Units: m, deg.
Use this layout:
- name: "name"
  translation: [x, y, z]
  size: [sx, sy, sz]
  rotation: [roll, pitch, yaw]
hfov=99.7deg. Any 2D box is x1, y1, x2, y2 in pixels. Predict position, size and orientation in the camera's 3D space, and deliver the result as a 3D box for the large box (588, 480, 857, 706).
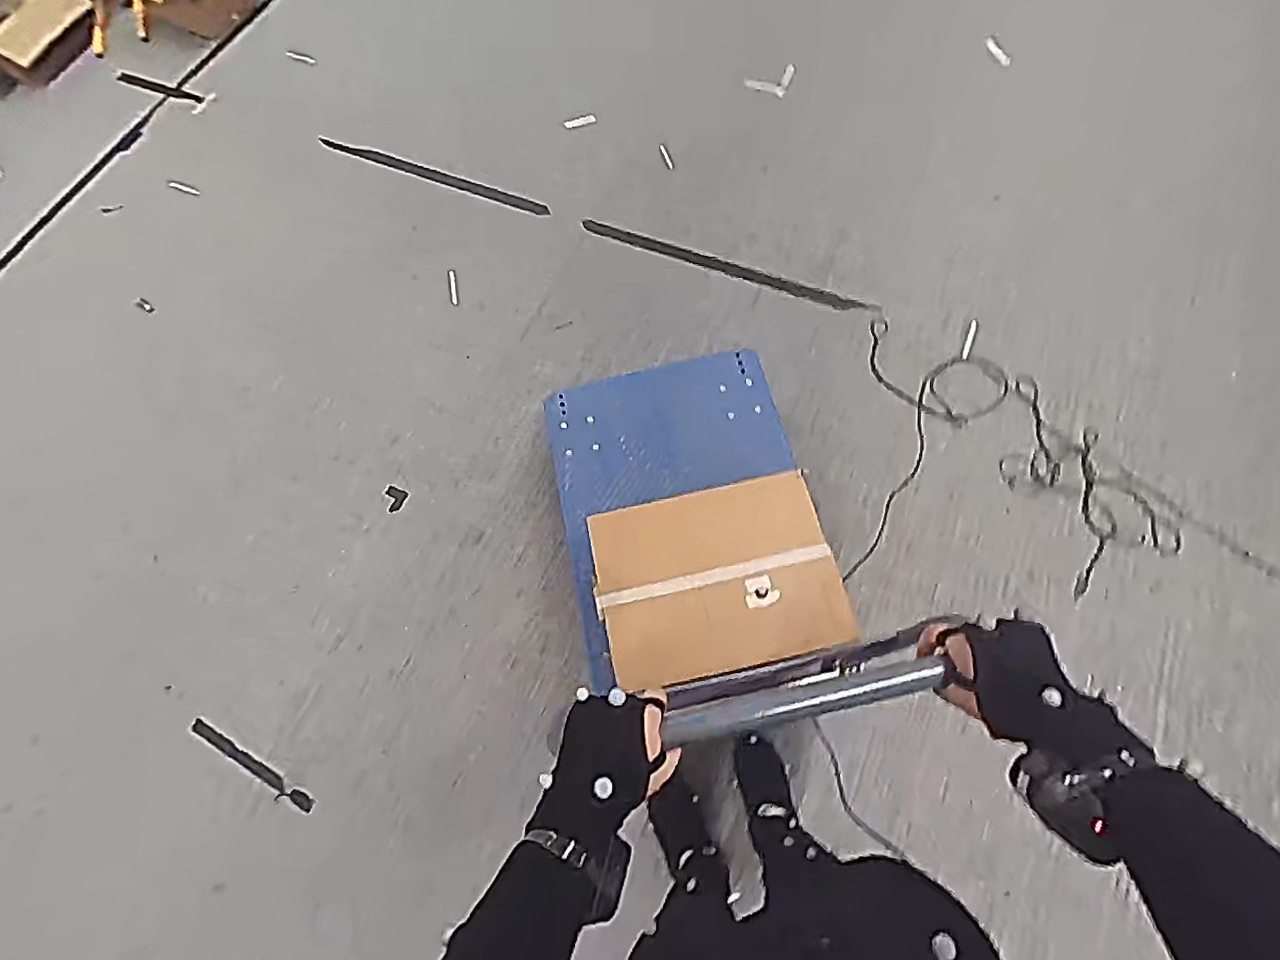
- name: "large box"
  translation: [0.137, 0.236, 1.063]
  size: [0.408, 0.320, 0.320]
  rotation: [-12, 69, -2]
